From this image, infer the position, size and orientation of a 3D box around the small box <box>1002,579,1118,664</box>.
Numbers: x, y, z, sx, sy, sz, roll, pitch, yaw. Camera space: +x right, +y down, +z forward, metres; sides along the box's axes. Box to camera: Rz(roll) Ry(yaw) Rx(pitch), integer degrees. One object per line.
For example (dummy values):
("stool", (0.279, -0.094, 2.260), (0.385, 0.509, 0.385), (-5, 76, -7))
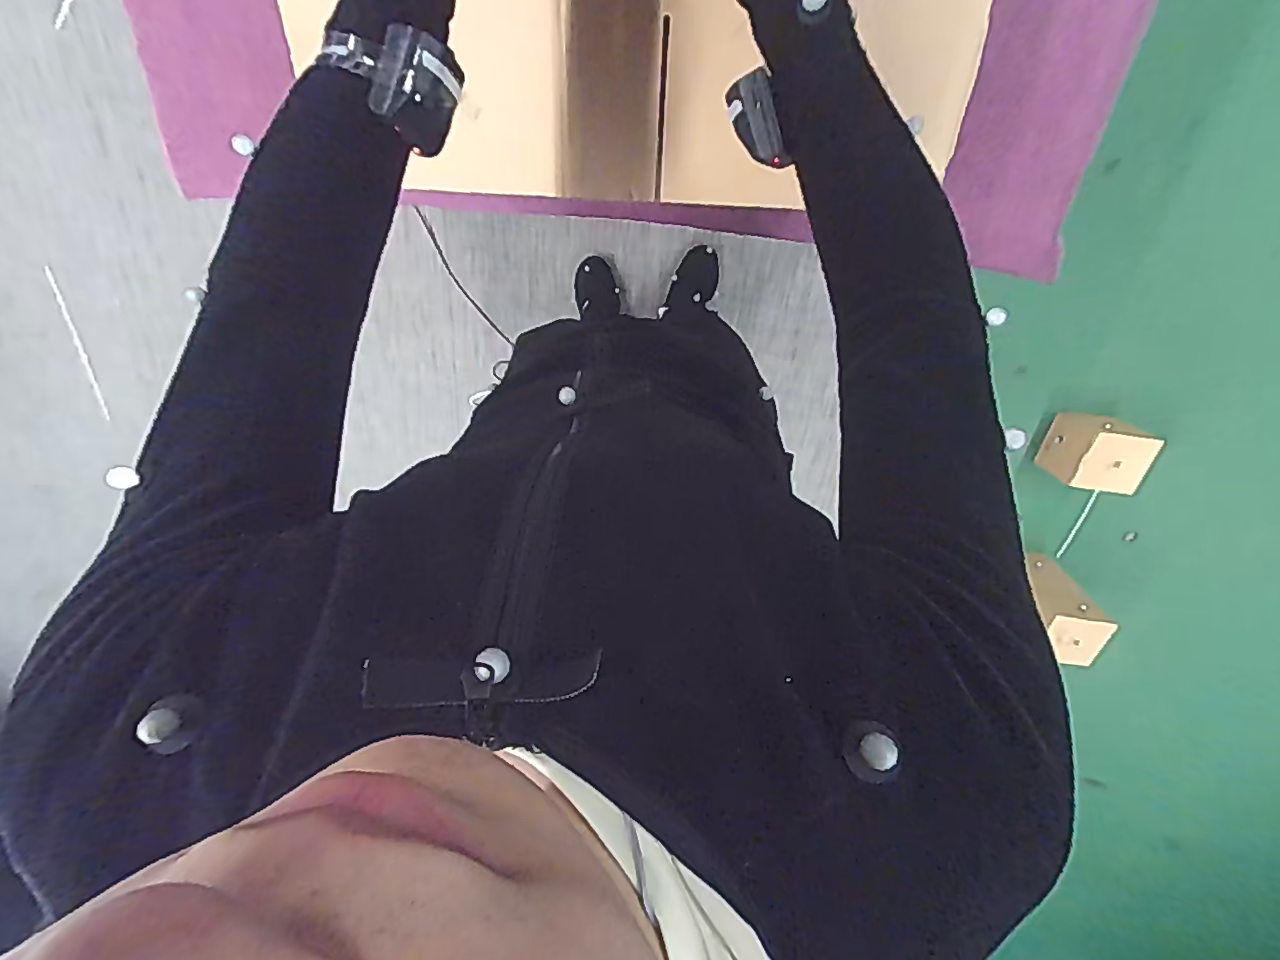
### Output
("small box", (1.222, 0.411, 1.588), (0.179, 0.176, 0.168), (8, 118, 0))

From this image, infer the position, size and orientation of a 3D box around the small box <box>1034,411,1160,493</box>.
("small box", (1.270, -0.083, 1.517), (0.179, 0.176, 0.168), (7, 118, 1))
